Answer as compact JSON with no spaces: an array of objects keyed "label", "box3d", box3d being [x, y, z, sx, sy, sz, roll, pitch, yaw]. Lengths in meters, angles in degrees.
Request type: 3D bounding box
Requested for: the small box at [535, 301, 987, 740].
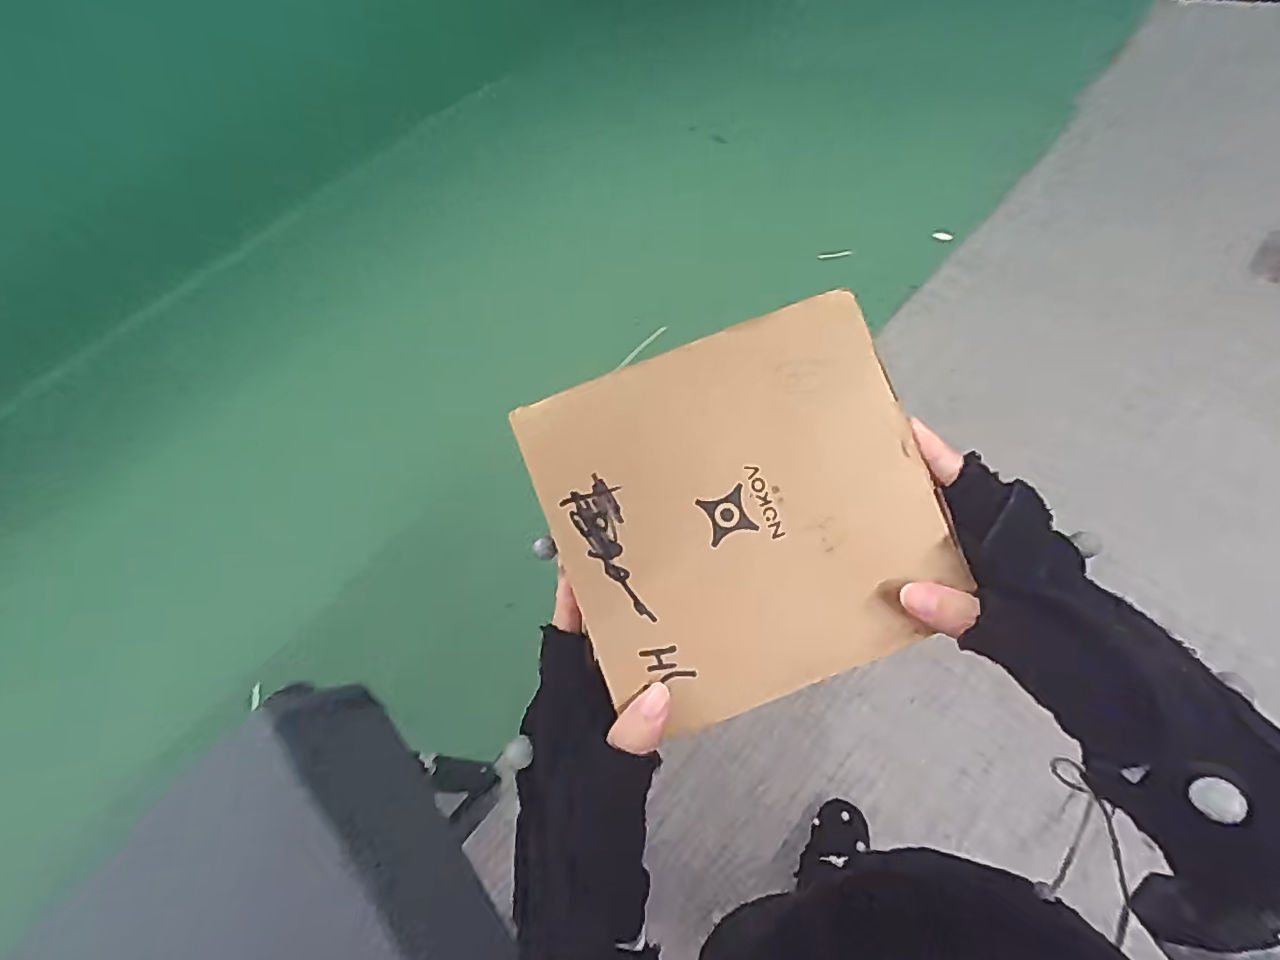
[{"label":"small box","box3d":[0.055,0.022,0.333,0.179,0.176,0.168,-20,84,-1]}]
